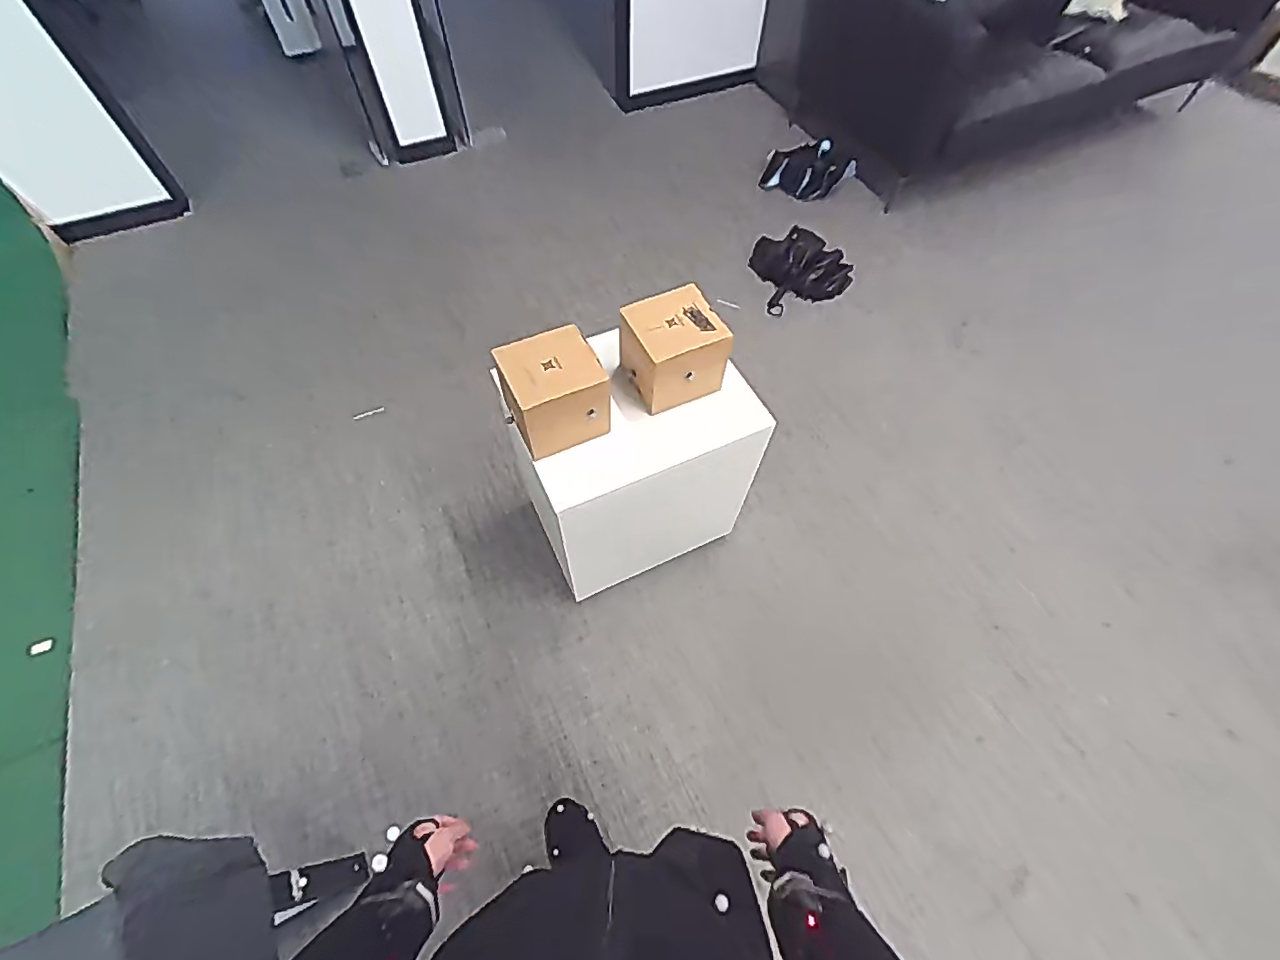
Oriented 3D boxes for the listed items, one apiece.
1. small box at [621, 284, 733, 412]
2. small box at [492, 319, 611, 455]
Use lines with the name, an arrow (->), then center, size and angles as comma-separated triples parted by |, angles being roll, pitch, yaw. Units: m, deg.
small box -> 0.068, -0.273, 1.135 | 0.179, 0.176, 0.168 | -21, 63, -14
small box -> -0.170, -0.179, 1.064 | 0.179, 0.176, 0.168 | -23, 62, -17
